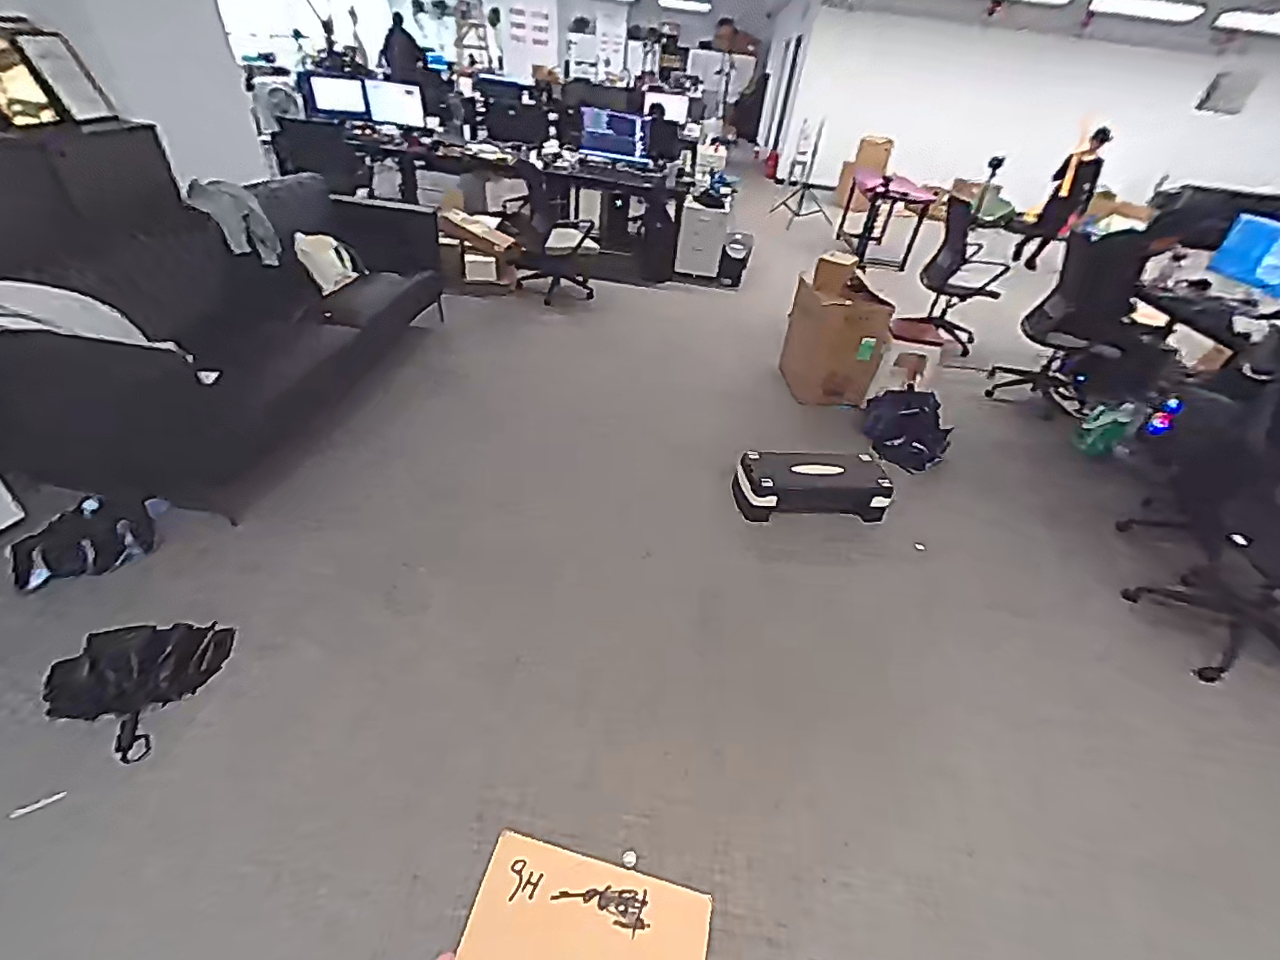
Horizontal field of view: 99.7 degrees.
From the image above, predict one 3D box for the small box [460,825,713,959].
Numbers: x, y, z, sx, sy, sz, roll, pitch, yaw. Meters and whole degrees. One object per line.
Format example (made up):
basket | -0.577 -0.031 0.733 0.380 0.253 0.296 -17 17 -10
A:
small box | -0.050 0.396 0.411 0.168 0.176 0.179 13 49 4
